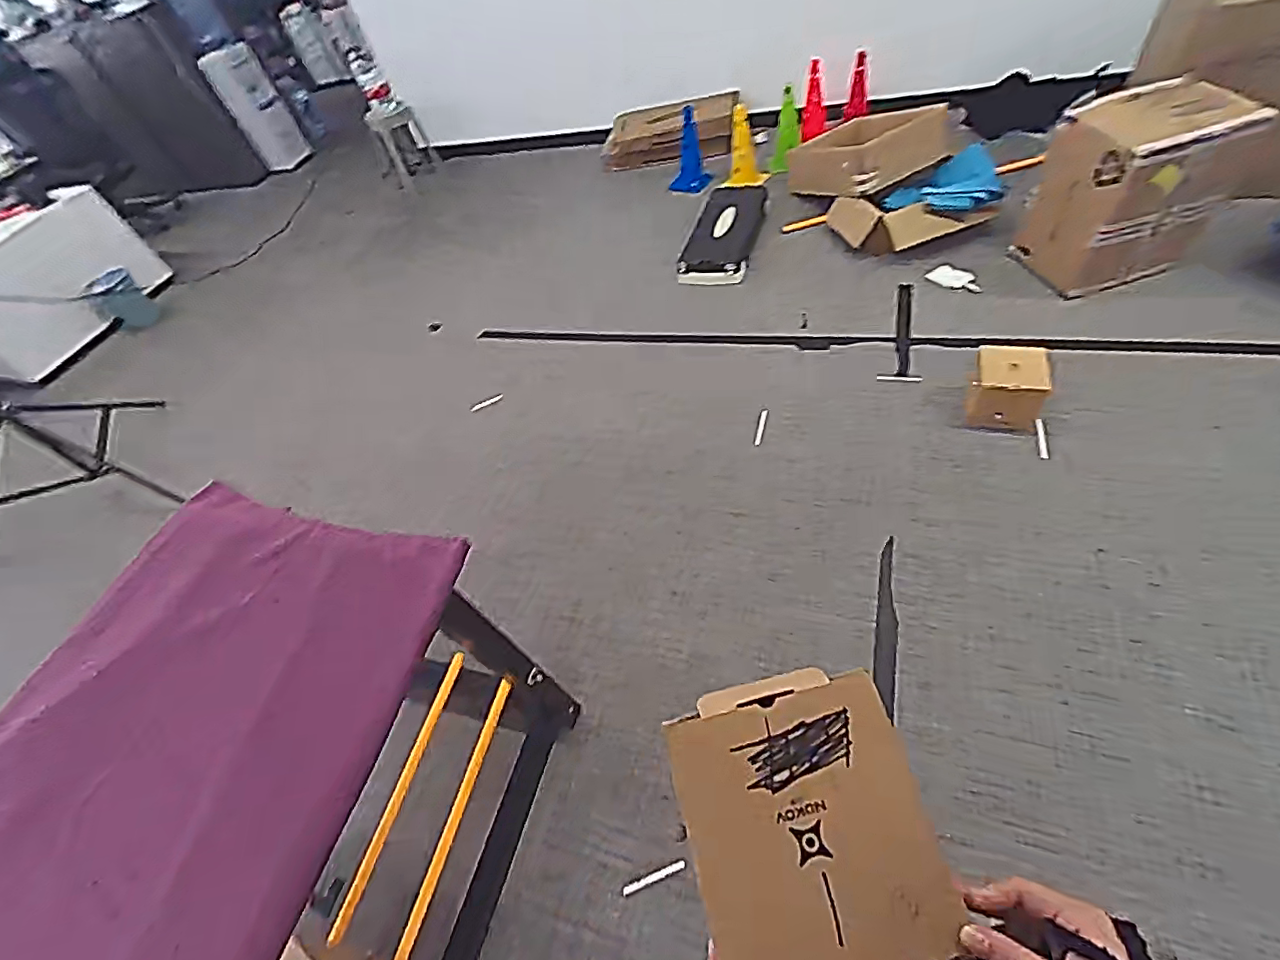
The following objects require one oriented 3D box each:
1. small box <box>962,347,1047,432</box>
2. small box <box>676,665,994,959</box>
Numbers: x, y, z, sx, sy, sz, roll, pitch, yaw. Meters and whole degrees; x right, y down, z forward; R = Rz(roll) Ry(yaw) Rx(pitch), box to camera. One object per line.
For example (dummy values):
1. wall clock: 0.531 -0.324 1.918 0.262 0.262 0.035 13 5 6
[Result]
1. small box: 1.074 -0.270 1.608 0.168 0.176 0.179 7 56 18
2. small box: 0.127 0.268 0.438 0.168 0.176 0.179 -14 64 -1
